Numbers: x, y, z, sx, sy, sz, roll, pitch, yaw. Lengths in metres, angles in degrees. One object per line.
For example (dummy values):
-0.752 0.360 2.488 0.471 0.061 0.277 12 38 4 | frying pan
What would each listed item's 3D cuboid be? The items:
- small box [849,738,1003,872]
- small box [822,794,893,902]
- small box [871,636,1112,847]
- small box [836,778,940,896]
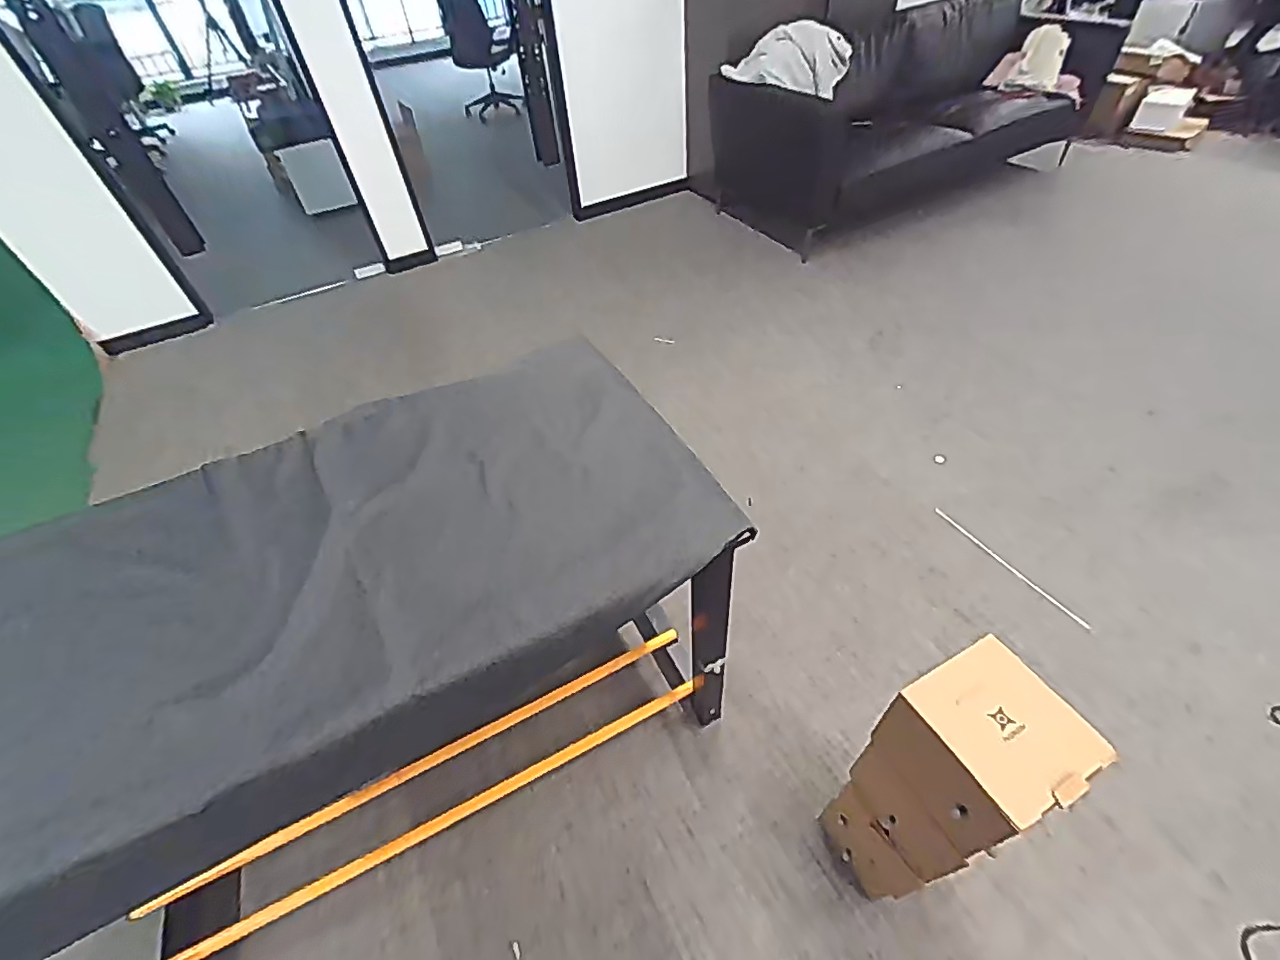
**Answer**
0.453 0.461 0.824 0.168 0.176 0.179 -22 49 -16 | small box
0.485 0.685 1.061 0.179 0.176 0.168 -22 47 -16 | small box
0.440 0.347 0.710 0.168 0.176 0.179 -23 48 -17 | small box
0.464 0.580 0.938 0.179 0.176 0.168 -24 49 -17 | small box
